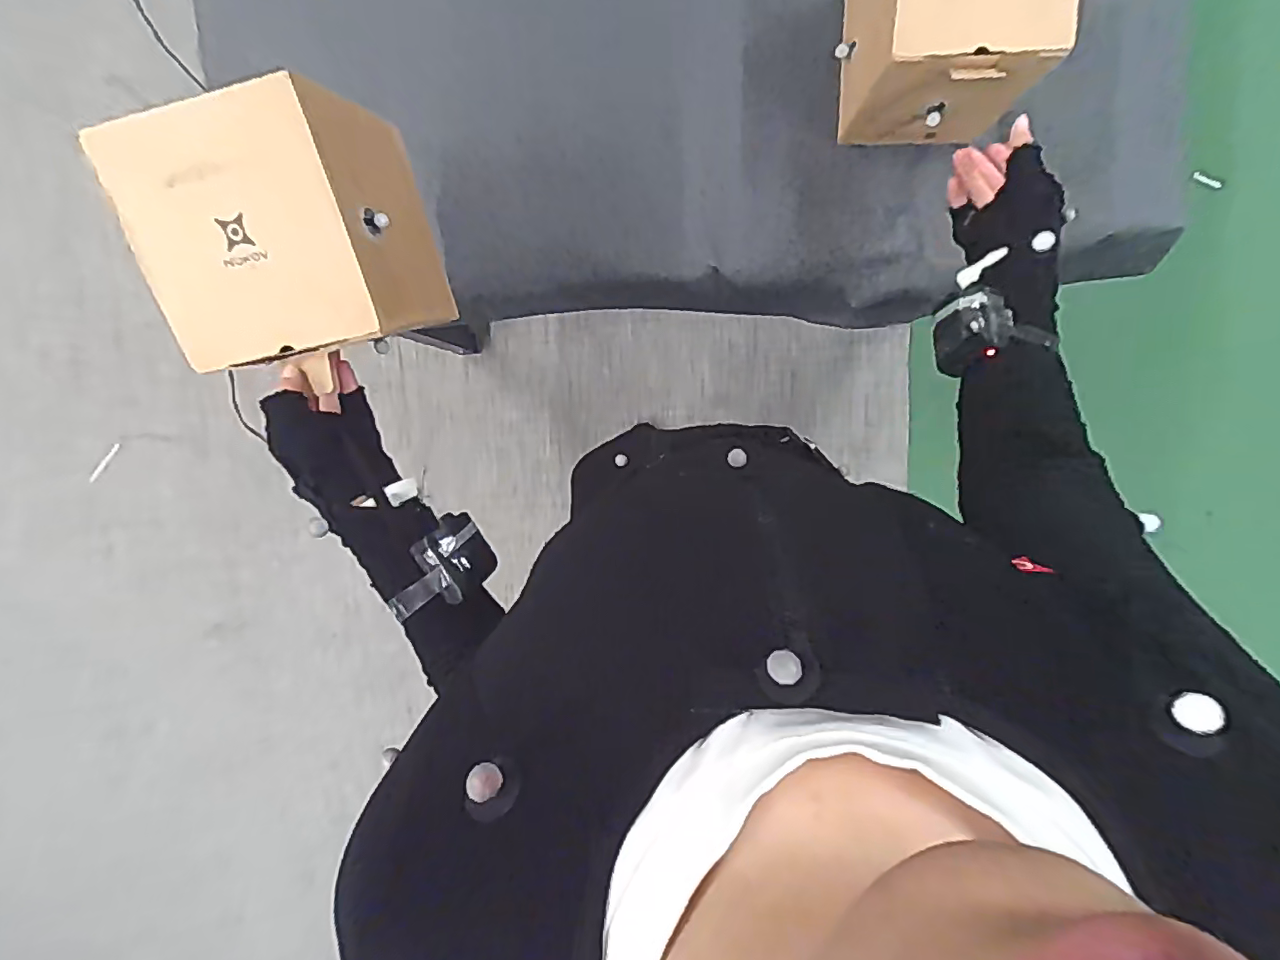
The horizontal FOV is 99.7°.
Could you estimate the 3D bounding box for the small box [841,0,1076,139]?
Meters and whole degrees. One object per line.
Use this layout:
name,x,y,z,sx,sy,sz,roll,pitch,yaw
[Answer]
small box,0.323,-0.489,0.574,0.168,0.176,0.179,1,97,3

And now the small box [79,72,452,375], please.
small box,-0.287,-0.204,0.467,0.168,0.176,0.179,-11,109,6
